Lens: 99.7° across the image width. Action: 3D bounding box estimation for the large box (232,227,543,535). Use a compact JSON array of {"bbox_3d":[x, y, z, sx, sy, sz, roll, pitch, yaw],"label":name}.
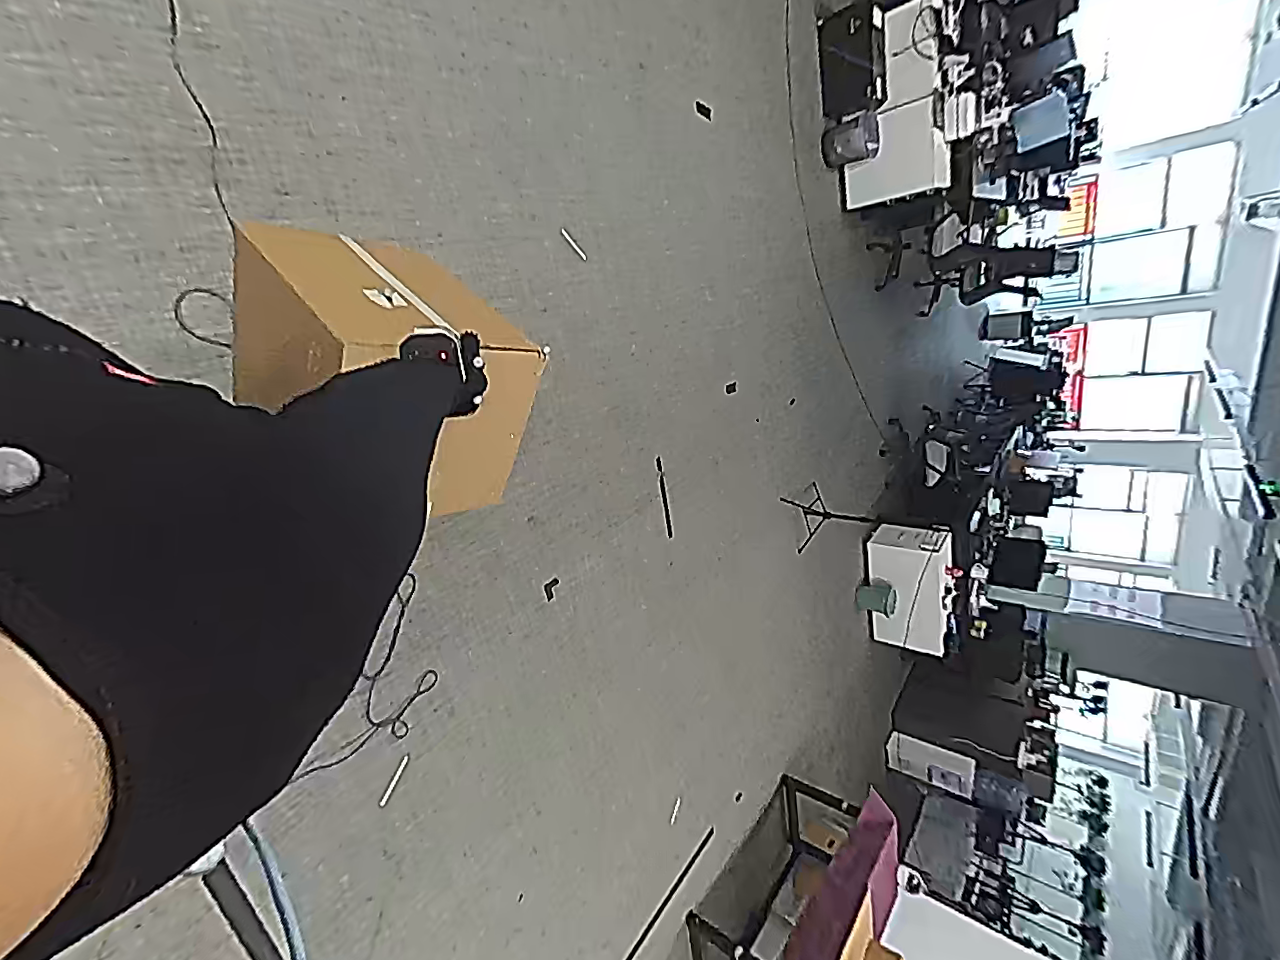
[{"bbox_3d":[-0.444,-0.171,0.925,0.320,0.408,0.320,-13,137,-49],"label":"large box"}]
